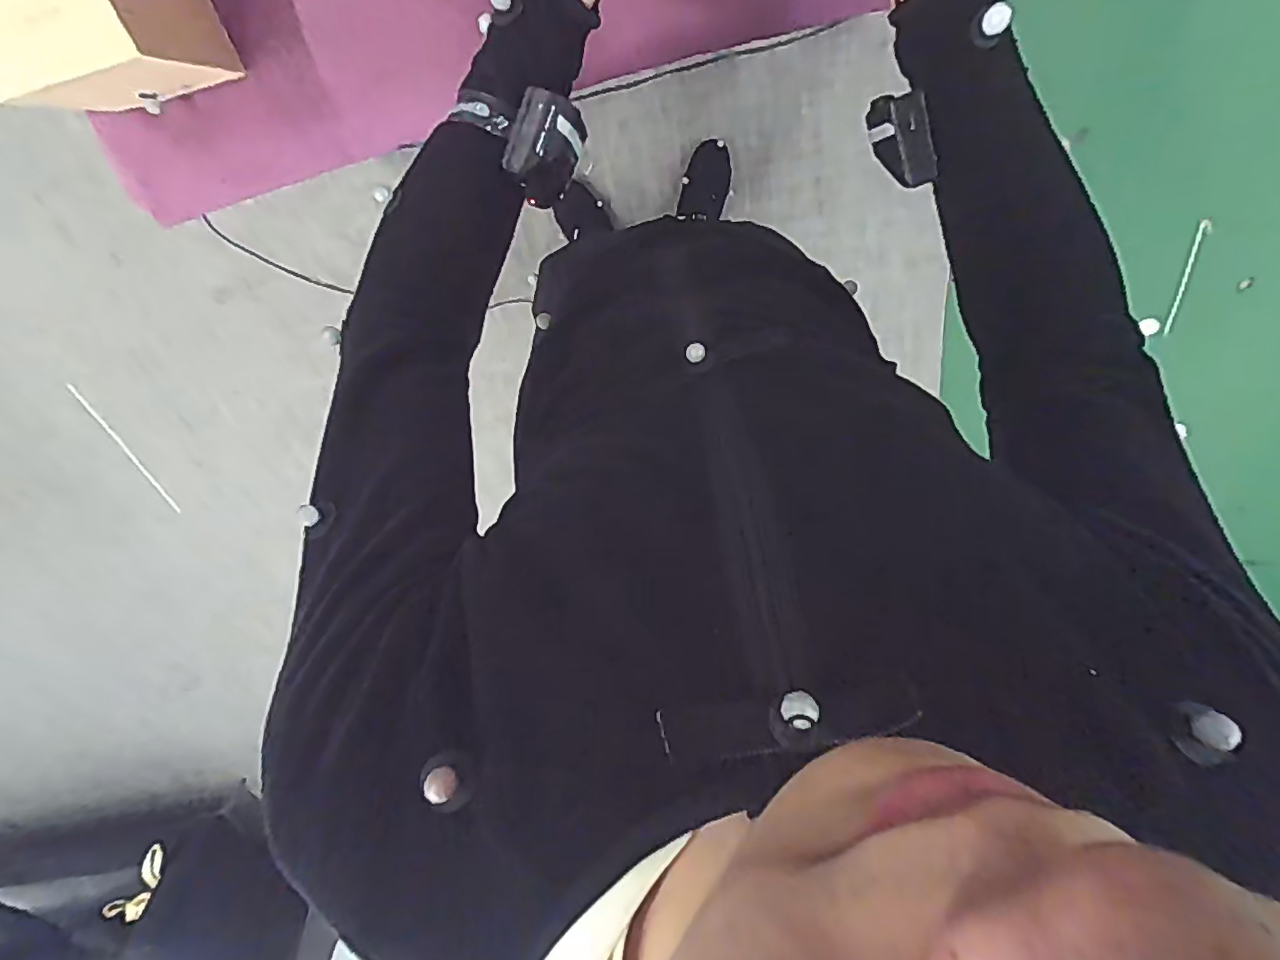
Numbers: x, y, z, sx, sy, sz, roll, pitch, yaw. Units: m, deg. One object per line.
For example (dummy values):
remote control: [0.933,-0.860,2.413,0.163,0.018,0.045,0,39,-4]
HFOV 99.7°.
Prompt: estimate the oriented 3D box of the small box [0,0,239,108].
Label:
small box: [-0.548,-0.481,0.517,0.168,0.176,0.179,-11,122,6]
